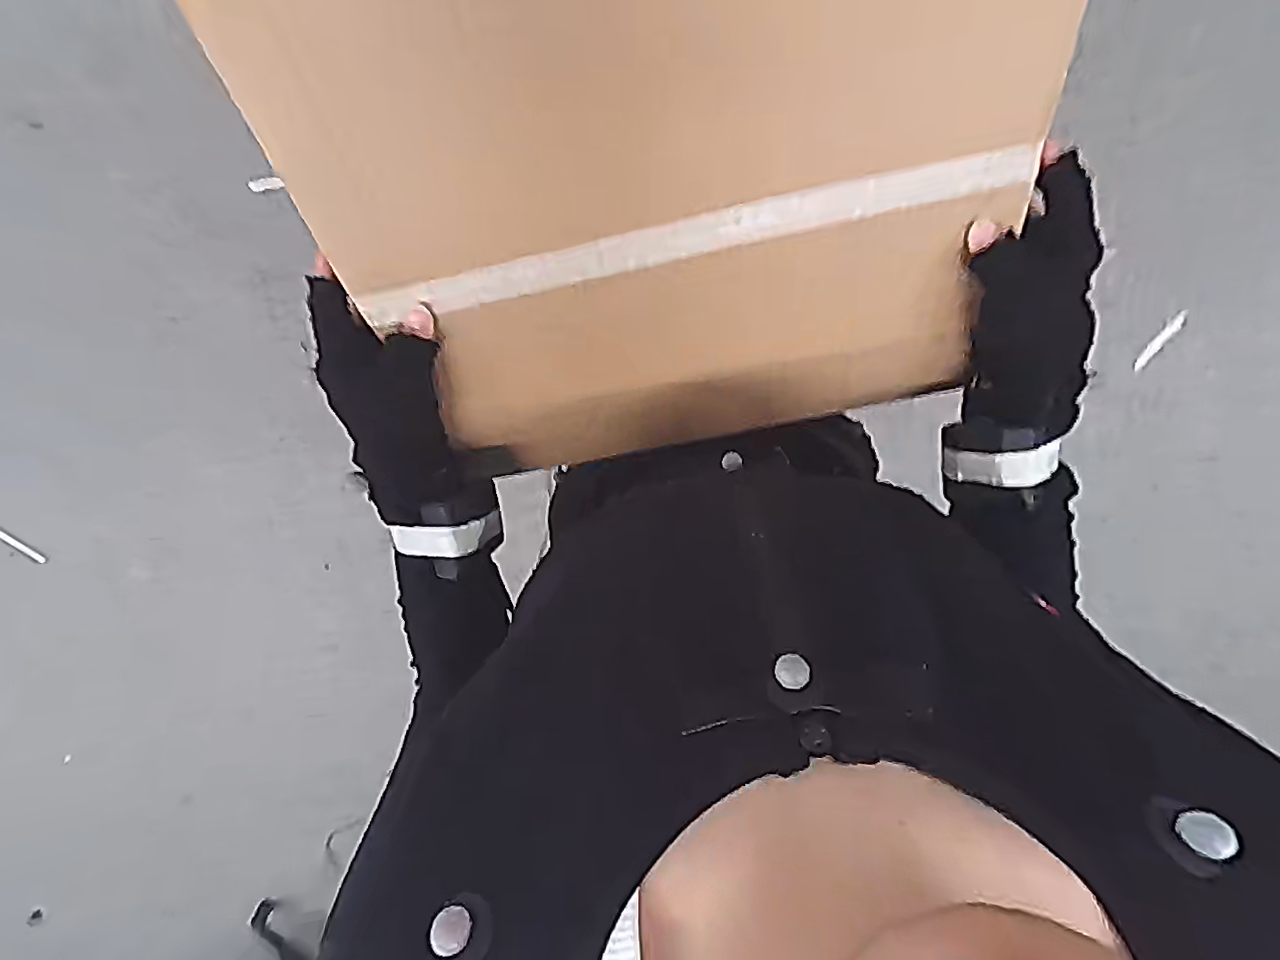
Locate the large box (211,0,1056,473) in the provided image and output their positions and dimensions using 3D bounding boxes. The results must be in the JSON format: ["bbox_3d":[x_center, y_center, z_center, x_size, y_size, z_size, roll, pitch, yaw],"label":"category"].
[{"bbox_3d":[0.010,-0.251,0.438,0.408,0.320,0.320,-11,135,4],"label":"large box"}]
